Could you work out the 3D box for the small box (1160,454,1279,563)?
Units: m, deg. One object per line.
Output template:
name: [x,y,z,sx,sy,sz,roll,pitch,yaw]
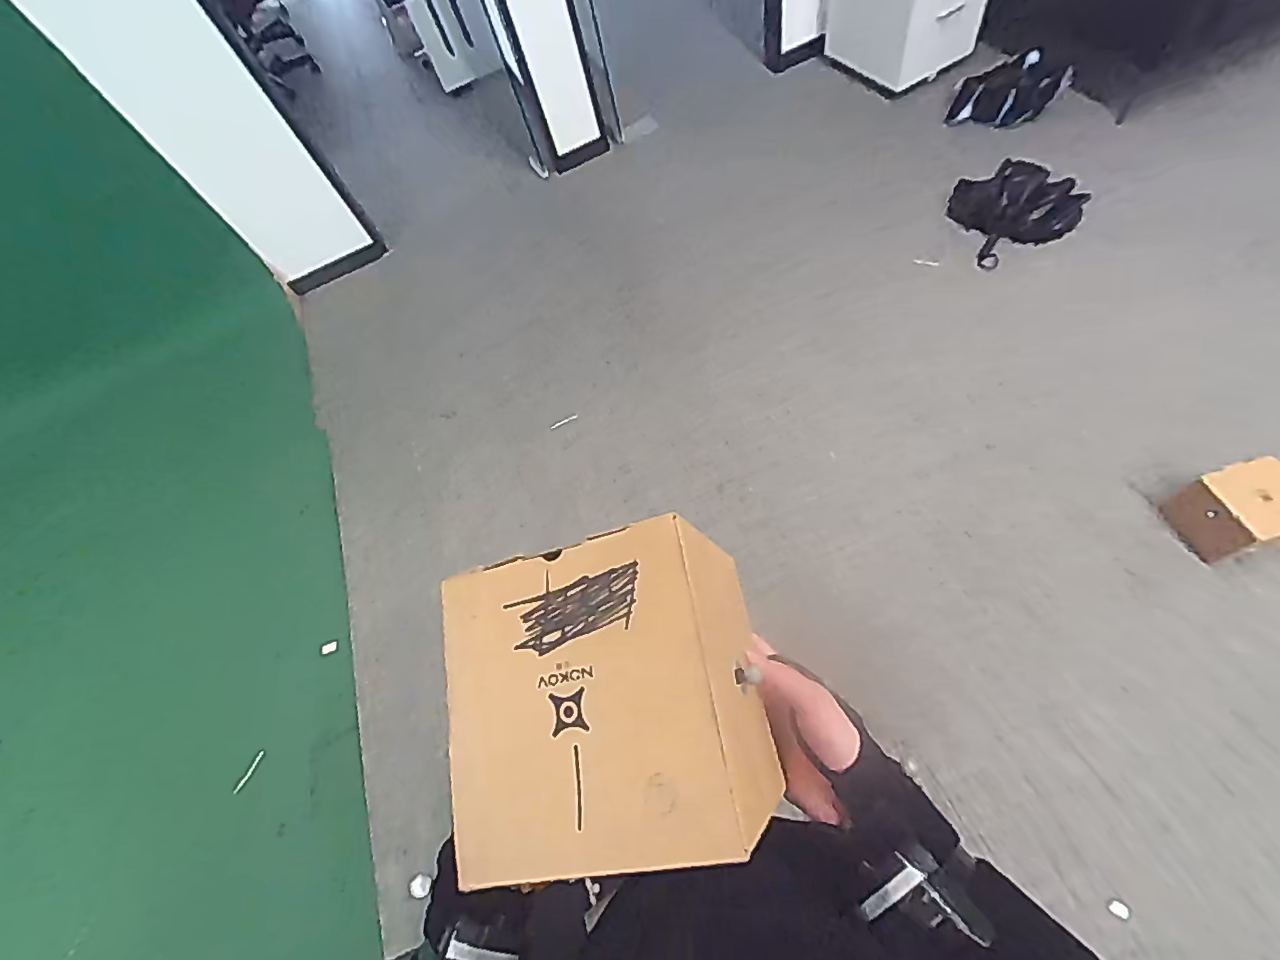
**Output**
small box: [1.413,0.072,1.282,0.168,0.176,0.179,-19,60,4]
